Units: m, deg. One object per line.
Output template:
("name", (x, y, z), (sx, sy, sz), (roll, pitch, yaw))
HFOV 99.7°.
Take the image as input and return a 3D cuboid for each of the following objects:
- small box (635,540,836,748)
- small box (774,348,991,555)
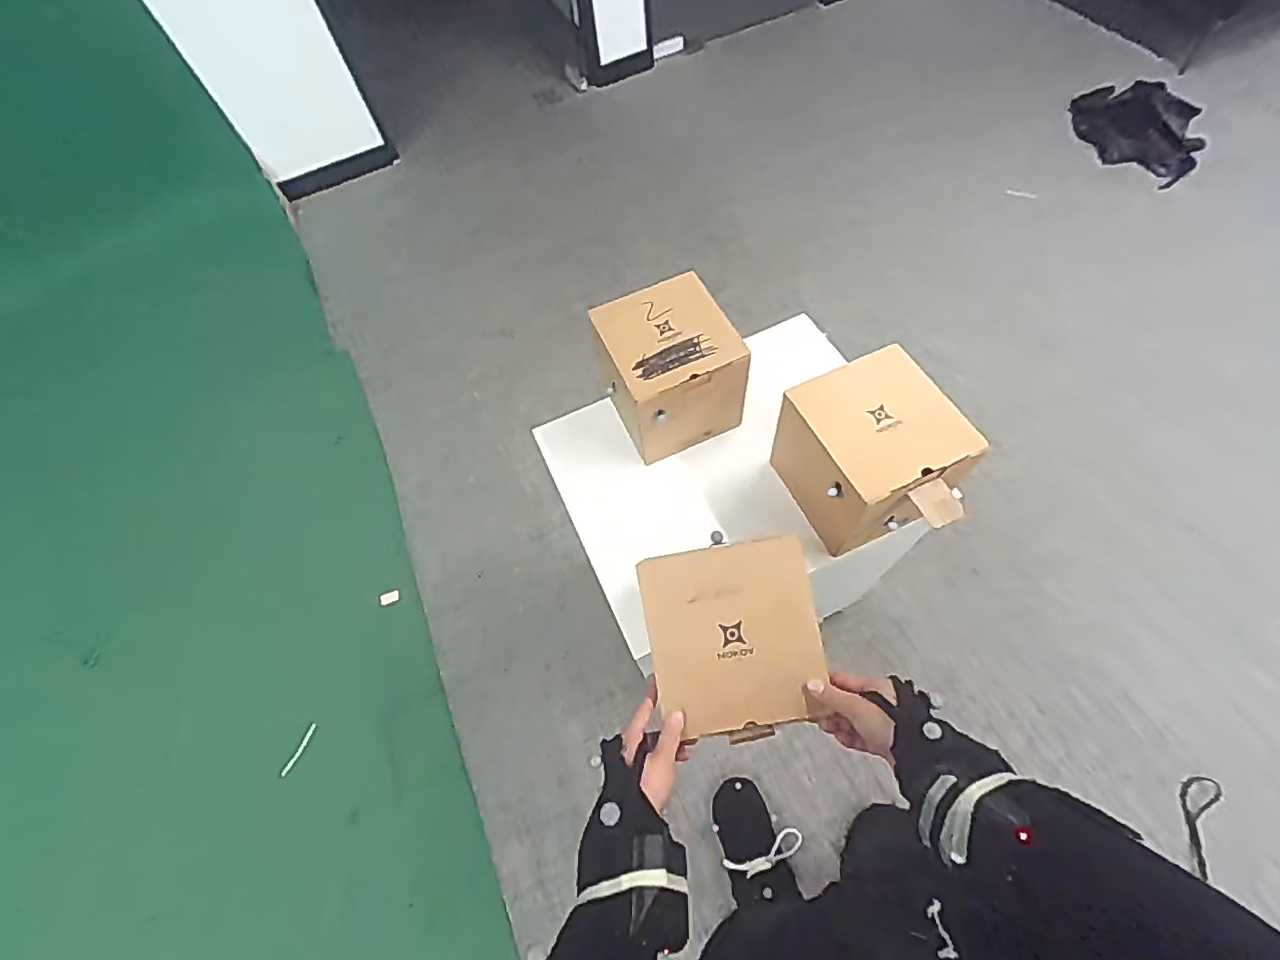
("small box", (0.096, 0.165, 0.598), (0.168, 0.176, 0.179), (-12, 82, 2))
("small box", (0.292, -0.031, 0.701), (0.168, 0.176, 0.179), (-24, 61, -7))
